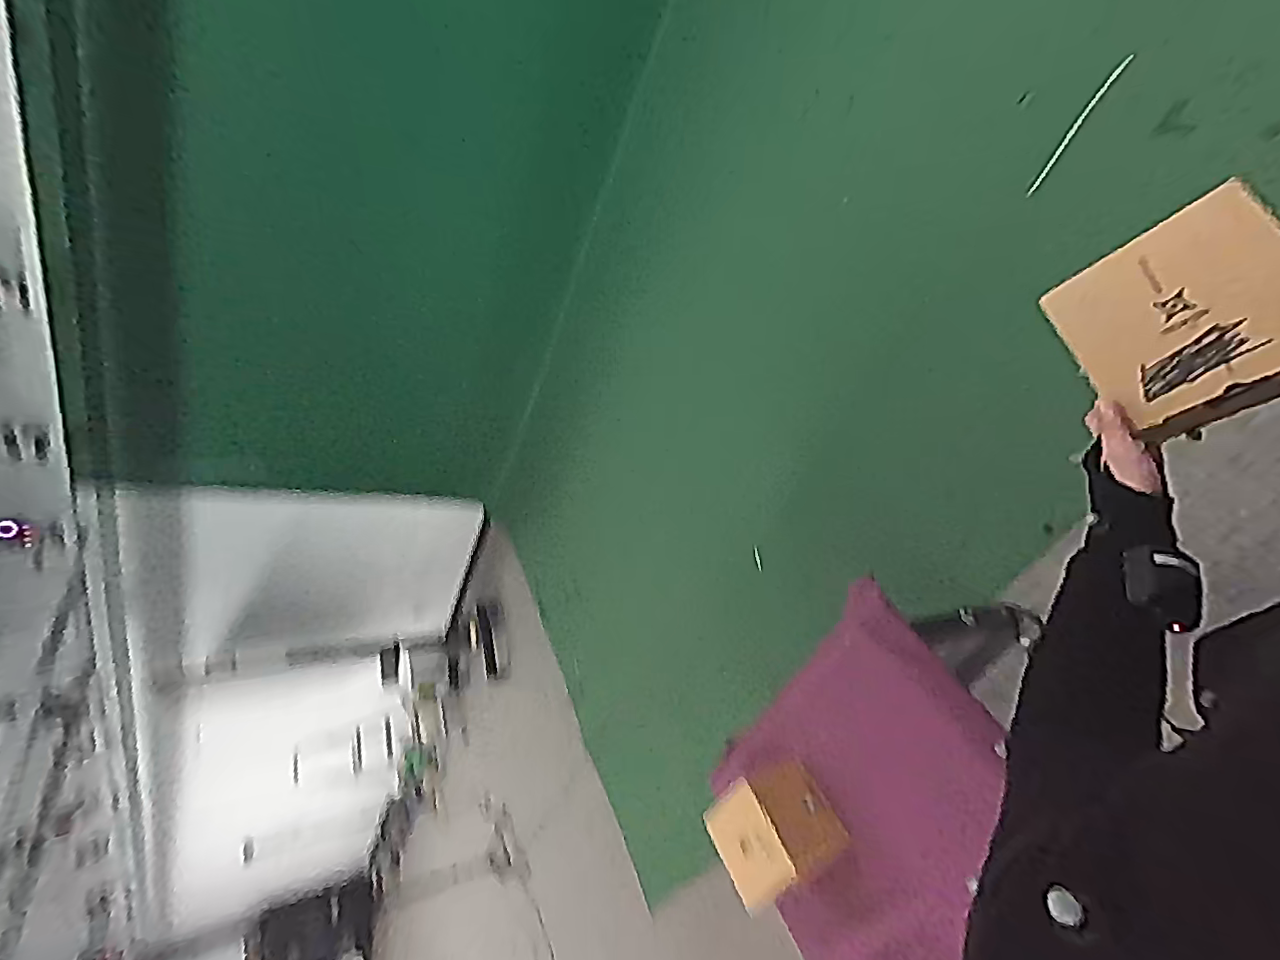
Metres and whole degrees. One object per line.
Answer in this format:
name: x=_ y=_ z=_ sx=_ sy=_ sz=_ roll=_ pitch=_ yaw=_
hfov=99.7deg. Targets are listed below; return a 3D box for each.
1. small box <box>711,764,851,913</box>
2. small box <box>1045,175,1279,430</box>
small box: x=0.278 y=0.701 z=1.071 sx=0.168 sy=0.176 sz=0.179 roll=53 pitch=128 yaw=40
small box: x=0.576 y=-0.164 z=0.558 sx=0.168 sy=0.176 sz=0.179 roll=-37 pitch=61 yaw=45
